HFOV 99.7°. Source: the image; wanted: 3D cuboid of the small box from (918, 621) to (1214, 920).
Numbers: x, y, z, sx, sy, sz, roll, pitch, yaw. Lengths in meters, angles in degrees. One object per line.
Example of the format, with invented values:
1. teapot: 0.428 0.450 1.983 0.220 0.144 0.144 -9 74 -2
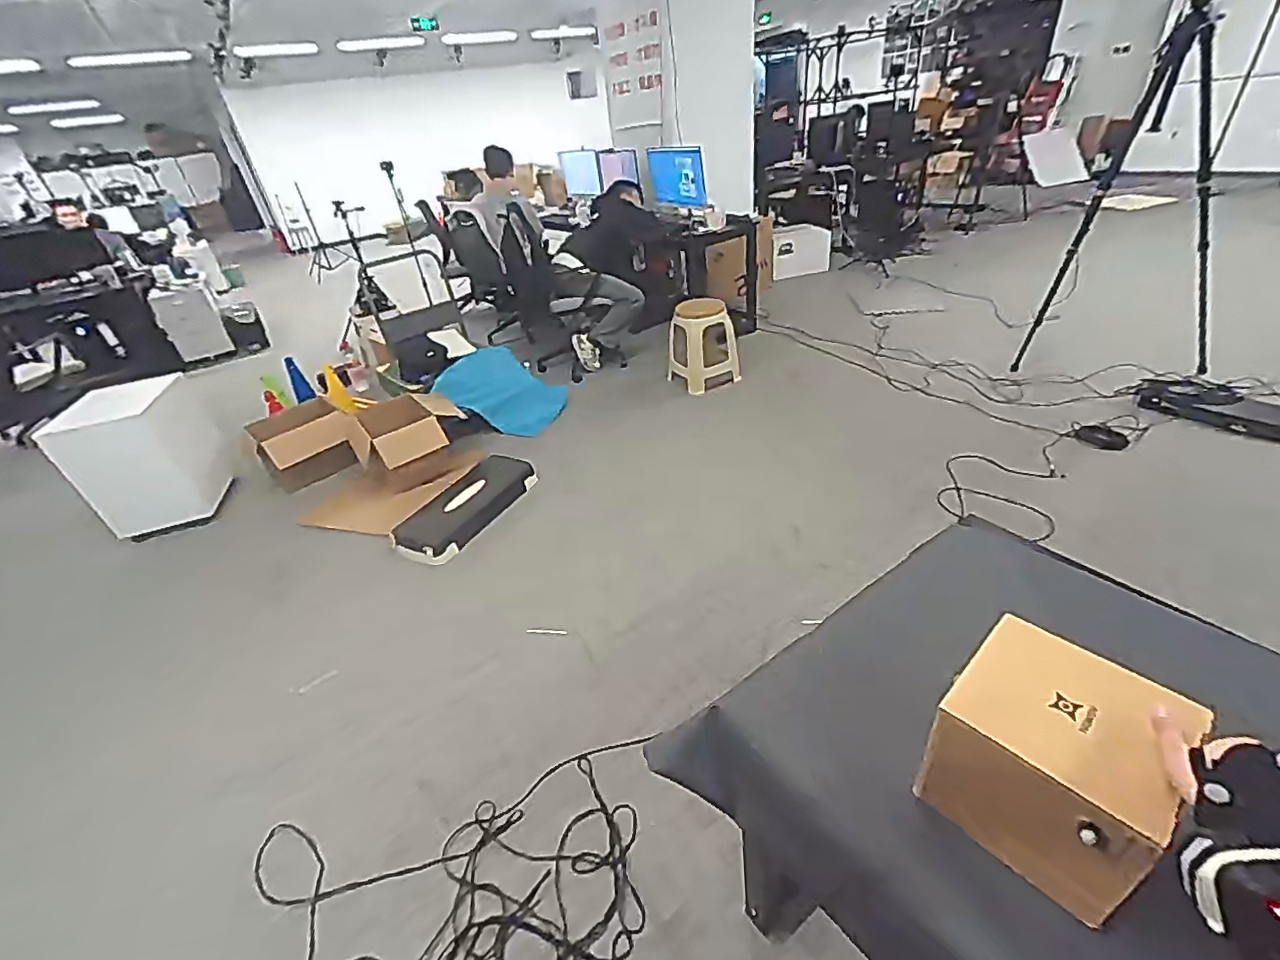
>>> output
1. small box: 0.416 0.288 0.554 0.168 0.176 0.179 -30 40 -30
